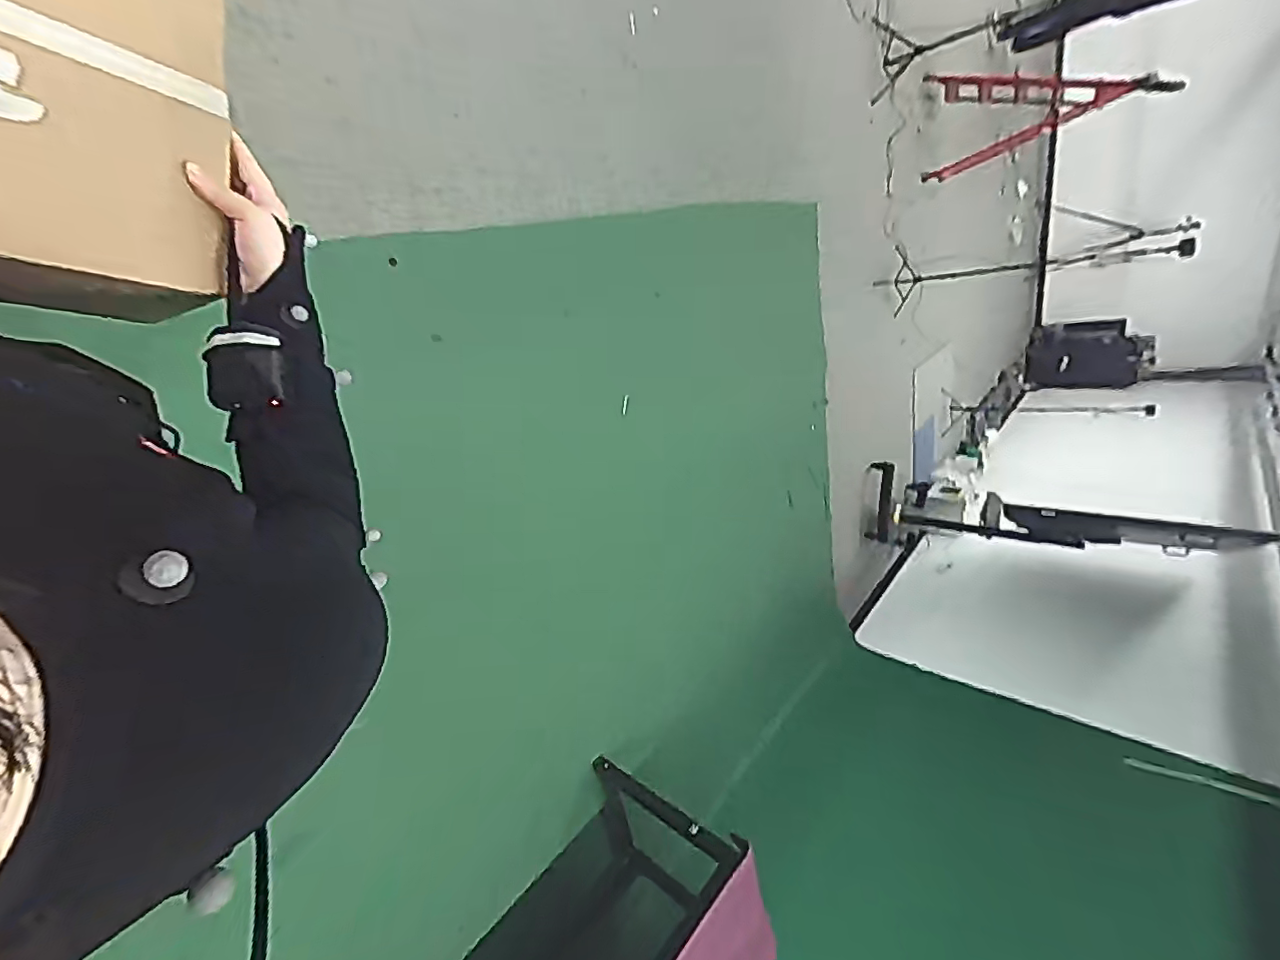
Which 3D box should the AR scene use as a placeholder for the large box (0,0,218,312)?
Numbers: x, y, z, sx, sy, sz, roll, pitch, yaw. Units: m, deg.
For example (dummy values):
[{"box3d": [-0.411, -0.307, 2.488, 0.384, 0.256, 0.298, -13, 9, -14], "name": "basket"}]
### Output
[{"box3d": [-0.603, -0.325, 0.393, 0.408, 0.320, 0.320, -4, 100, -51], "name": "large box"}]
